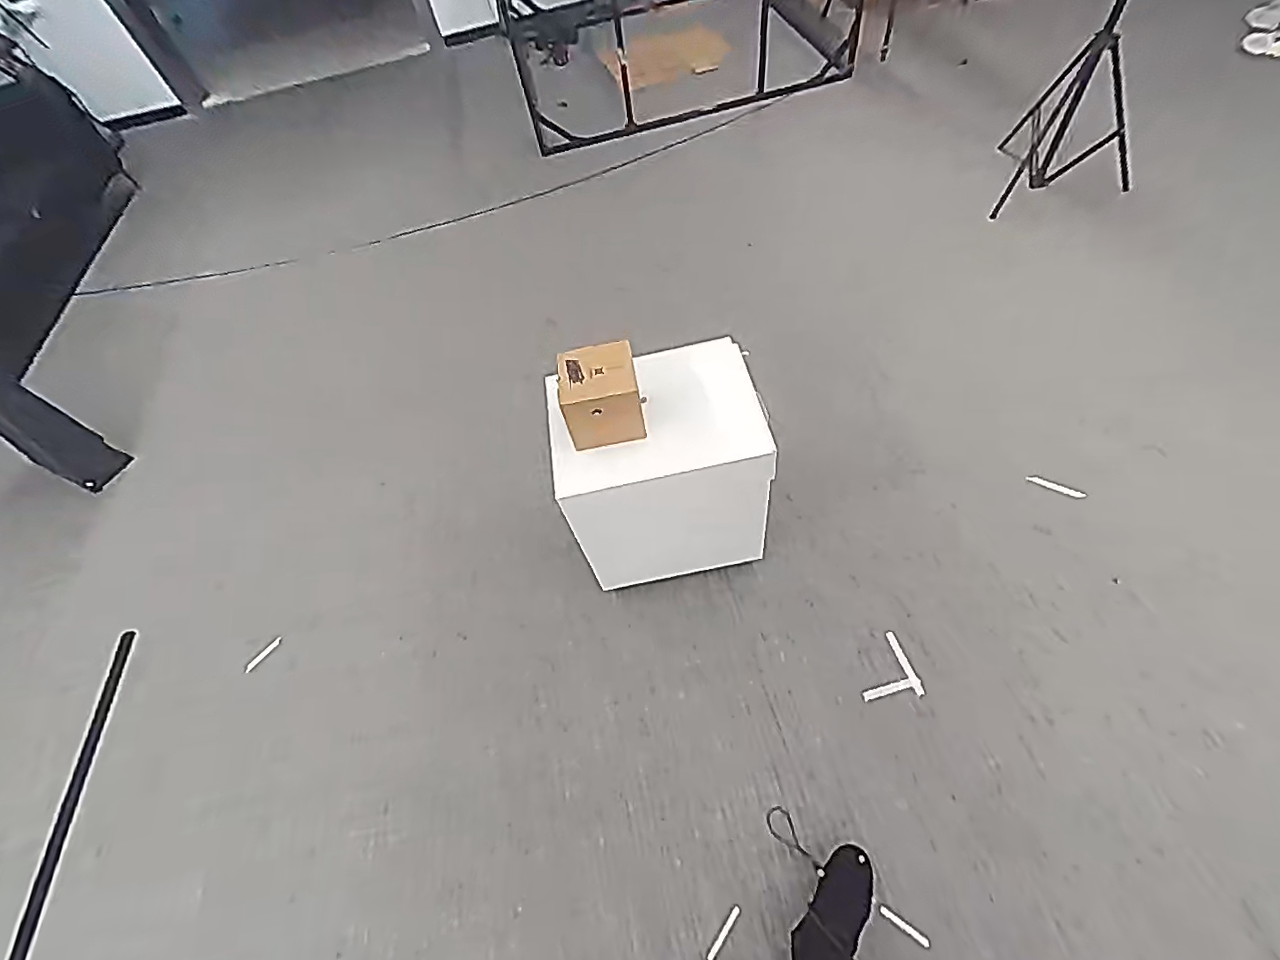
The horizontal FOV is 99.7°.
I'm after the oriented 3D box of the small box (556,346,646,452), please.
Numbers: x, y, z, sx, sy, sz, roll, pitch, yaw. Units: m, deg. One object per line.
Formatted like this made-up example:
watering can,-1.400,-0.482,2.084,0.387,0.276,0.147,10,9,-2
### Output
small box,-0.089,-0.184,1.273,0.179,0.176,0.168,-10,55,1
